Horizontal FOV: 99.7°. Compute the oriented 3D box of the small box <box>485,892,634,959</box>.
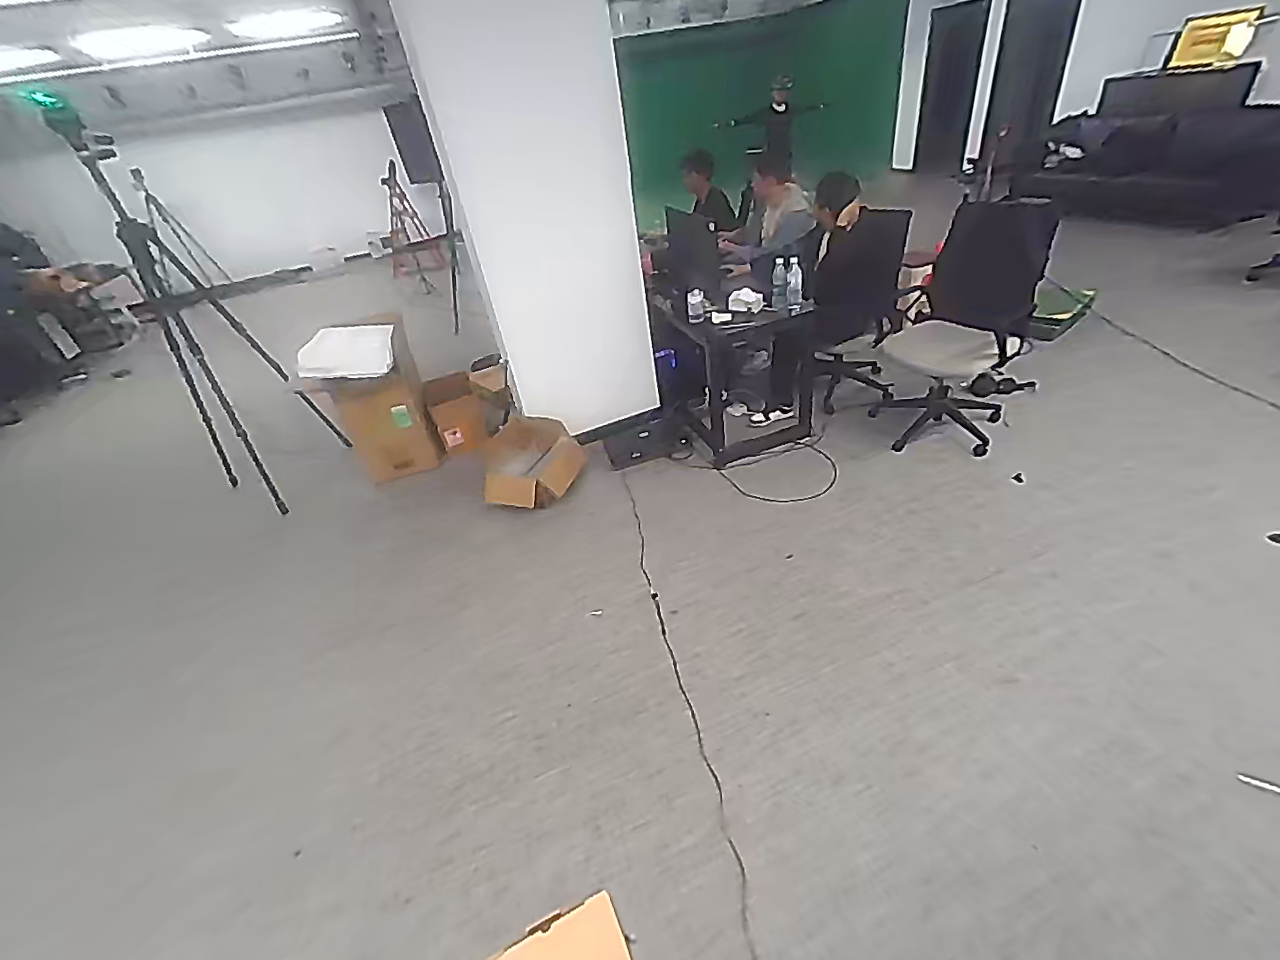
[{"bbox_3d":[-0.073,0.649,0.644,0.168,0.176,0.179,-19,42,-16],"label":"small box"}]
